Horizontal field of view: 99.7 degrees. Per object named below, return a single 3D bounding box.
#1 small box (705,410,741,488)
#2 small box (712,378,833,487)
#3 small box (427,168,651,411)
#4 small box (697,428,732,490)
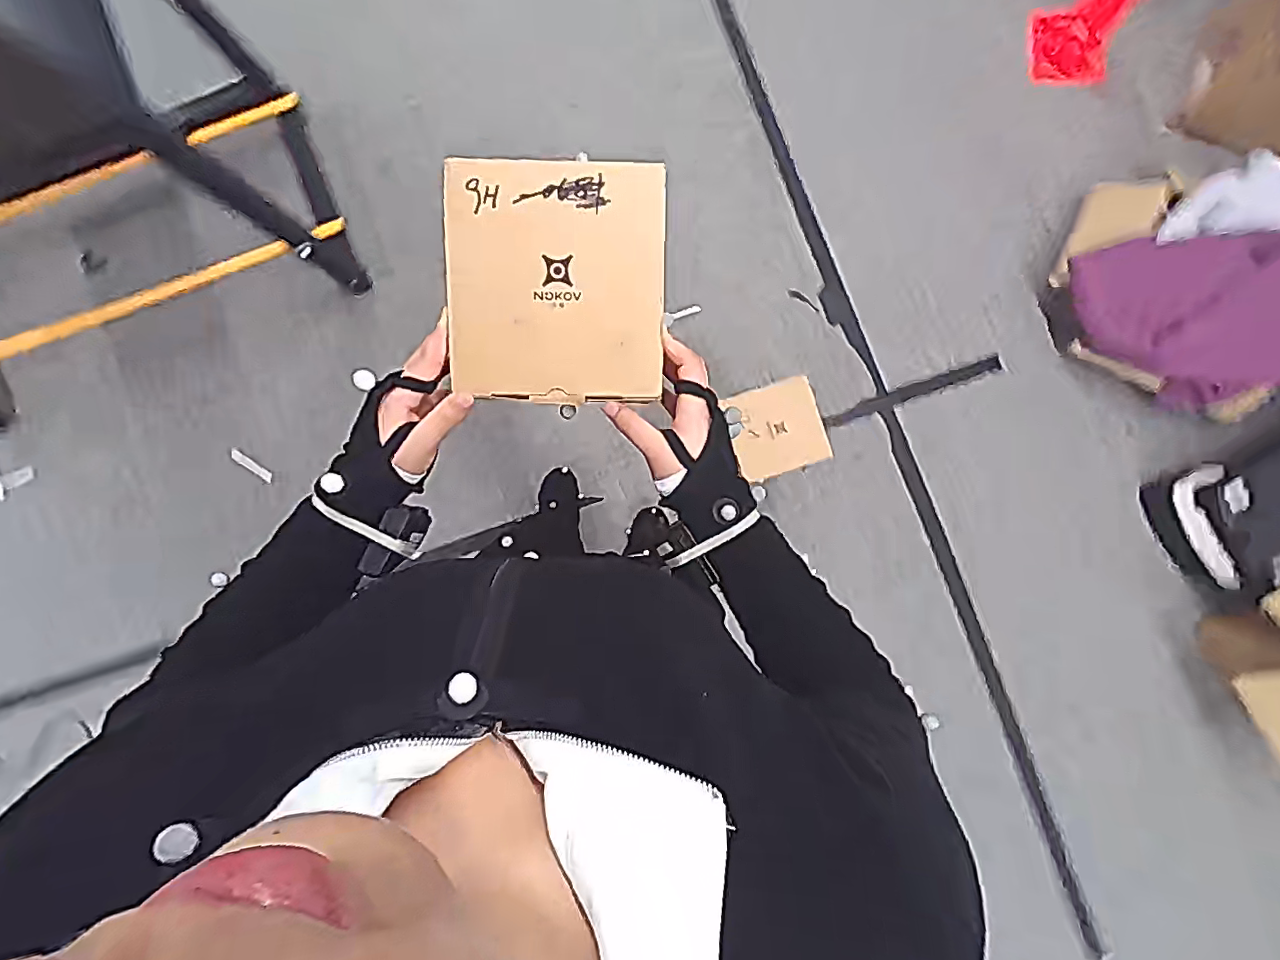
[{"bbox_3d":[0.257,-0.087,1.252,0.168,0.176,0.179,-20,88,1],"label":"small box"},{"bbox_3d":[0.256,-0.088,1.087,0.179,0.176,0.168,-17,88,1],"label":"small box"},{"bbox_3d":[-0.074,-0.154,0.485,0.168,0.176,0.179,-1,99,-1],"label":"small box"},{"bbox_3d":[0.260,-0.083,1.416,0.179,0.176,0.168,-25,88,2],"label":"small box"}]
